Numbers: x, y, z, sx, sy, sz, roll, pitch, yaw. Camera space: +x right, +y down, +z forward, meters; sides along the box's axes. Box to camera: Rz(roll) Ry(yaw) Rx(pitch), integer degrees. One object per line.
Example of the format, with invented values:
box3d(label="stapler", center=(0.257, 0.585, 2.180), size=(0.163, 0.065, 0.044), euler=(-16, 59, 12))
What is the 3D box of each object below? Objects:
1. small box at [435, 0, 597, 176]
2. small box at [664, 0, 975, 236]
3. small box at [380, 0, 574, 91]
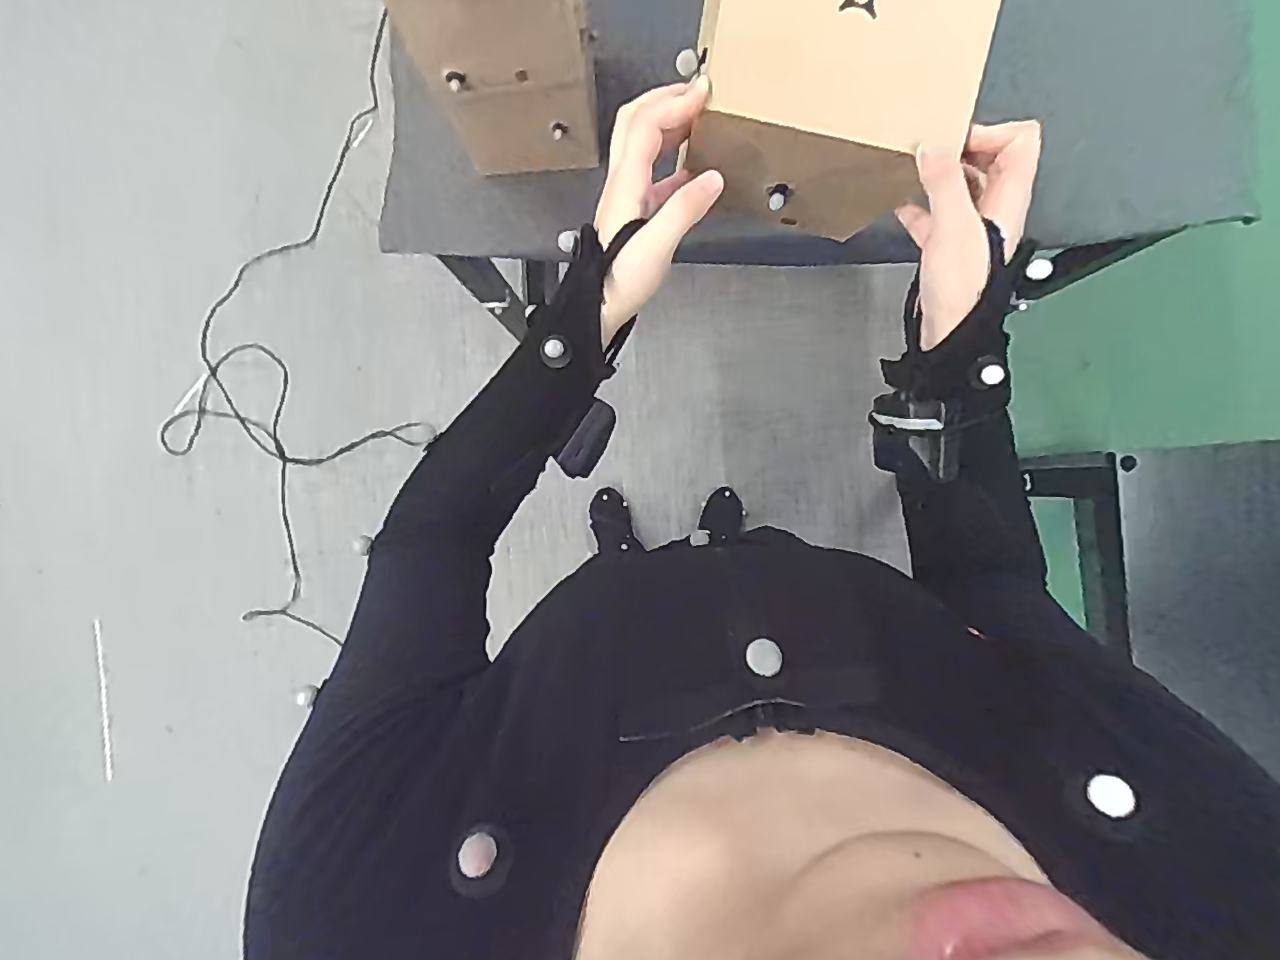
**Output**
box3d(label="small box", center=(-0.150, -0.524, 0.699), size=(0.179, 0.176, 0.168), euler=(-4, 87, 3))
box3d(label="small box", center=(0.114, -0.300, 0.396), size=(0.168, 0.176, 0.179), euler=(9, 98, -4))
box3d(label="small box", center=(-0.165, -0.525, 0.535), size=(0.168, 0.176, 0.179), euler=(-8, 87, 1))
